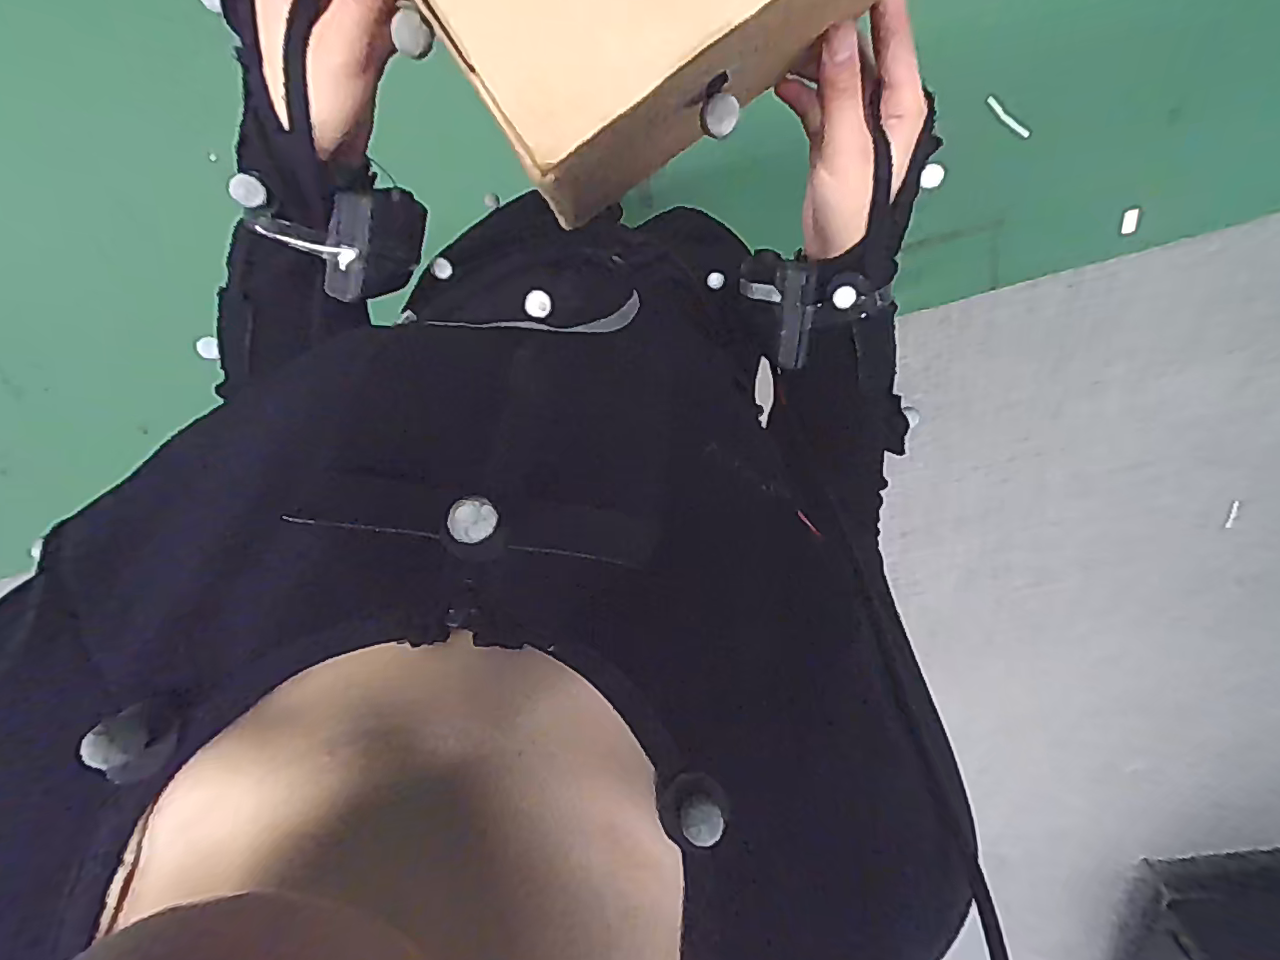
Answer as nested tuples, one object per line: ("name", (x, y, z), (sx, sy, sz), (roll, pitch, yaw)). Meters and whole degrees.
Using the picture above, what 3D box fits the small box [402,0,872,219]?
("small box", (-0.006, -0.217, 0.188), (0.179, 0.176, 0.168), (-32, 109, 9))
